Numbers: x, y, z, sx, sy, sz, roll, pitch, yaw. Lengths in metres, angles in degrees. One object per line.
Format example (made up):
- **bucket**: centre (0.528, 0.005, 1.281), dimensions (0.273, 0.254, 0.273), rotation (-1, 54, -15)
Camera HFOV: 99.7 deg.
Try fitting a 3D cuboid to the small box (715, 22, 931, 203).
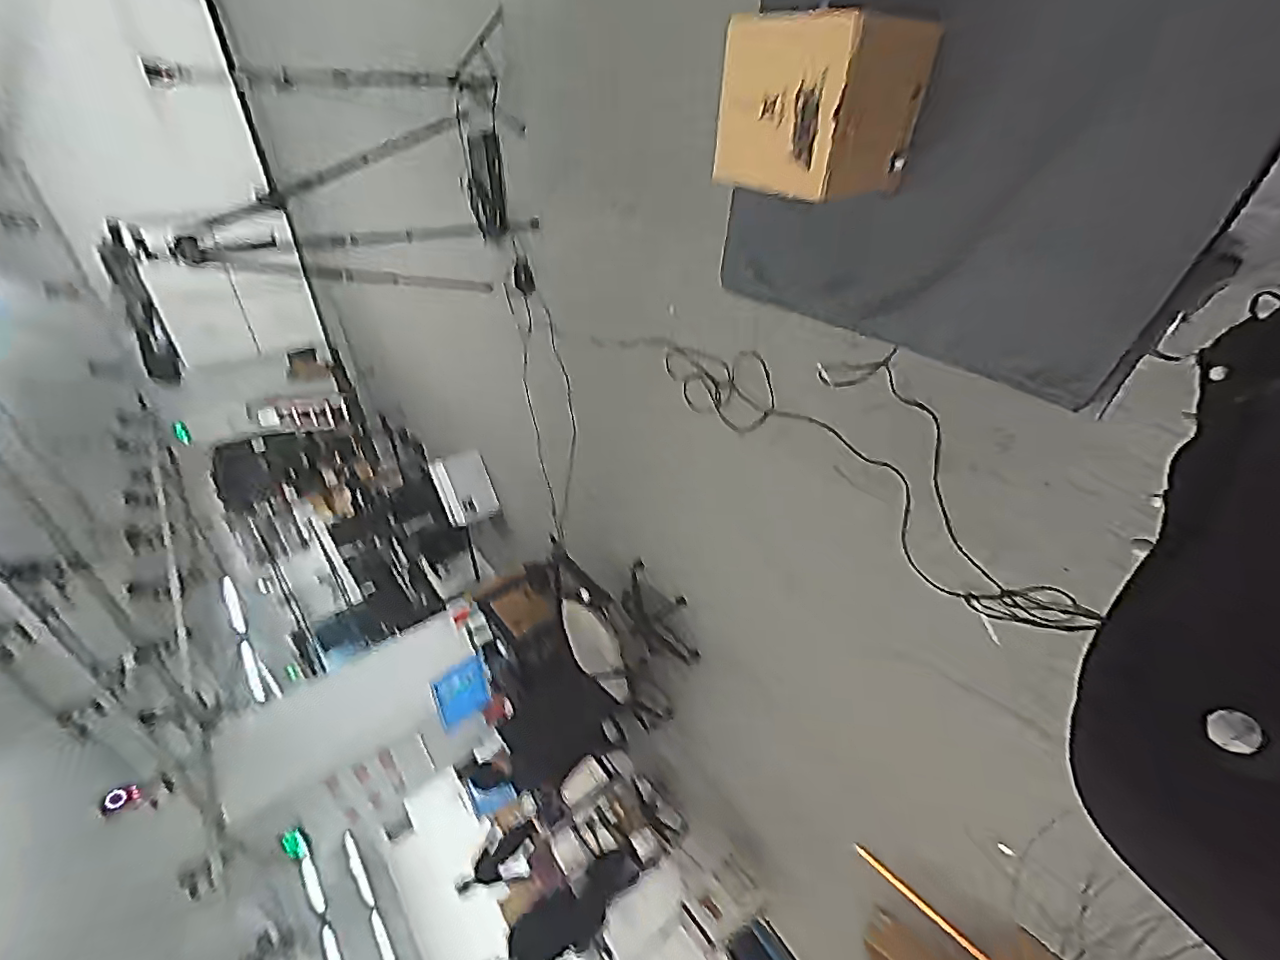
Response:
- **small box**: centre (0.219, -0.454, 0.666), dimensions (0.179, 0.176, 0.168), rotation (37, 139, 38)
